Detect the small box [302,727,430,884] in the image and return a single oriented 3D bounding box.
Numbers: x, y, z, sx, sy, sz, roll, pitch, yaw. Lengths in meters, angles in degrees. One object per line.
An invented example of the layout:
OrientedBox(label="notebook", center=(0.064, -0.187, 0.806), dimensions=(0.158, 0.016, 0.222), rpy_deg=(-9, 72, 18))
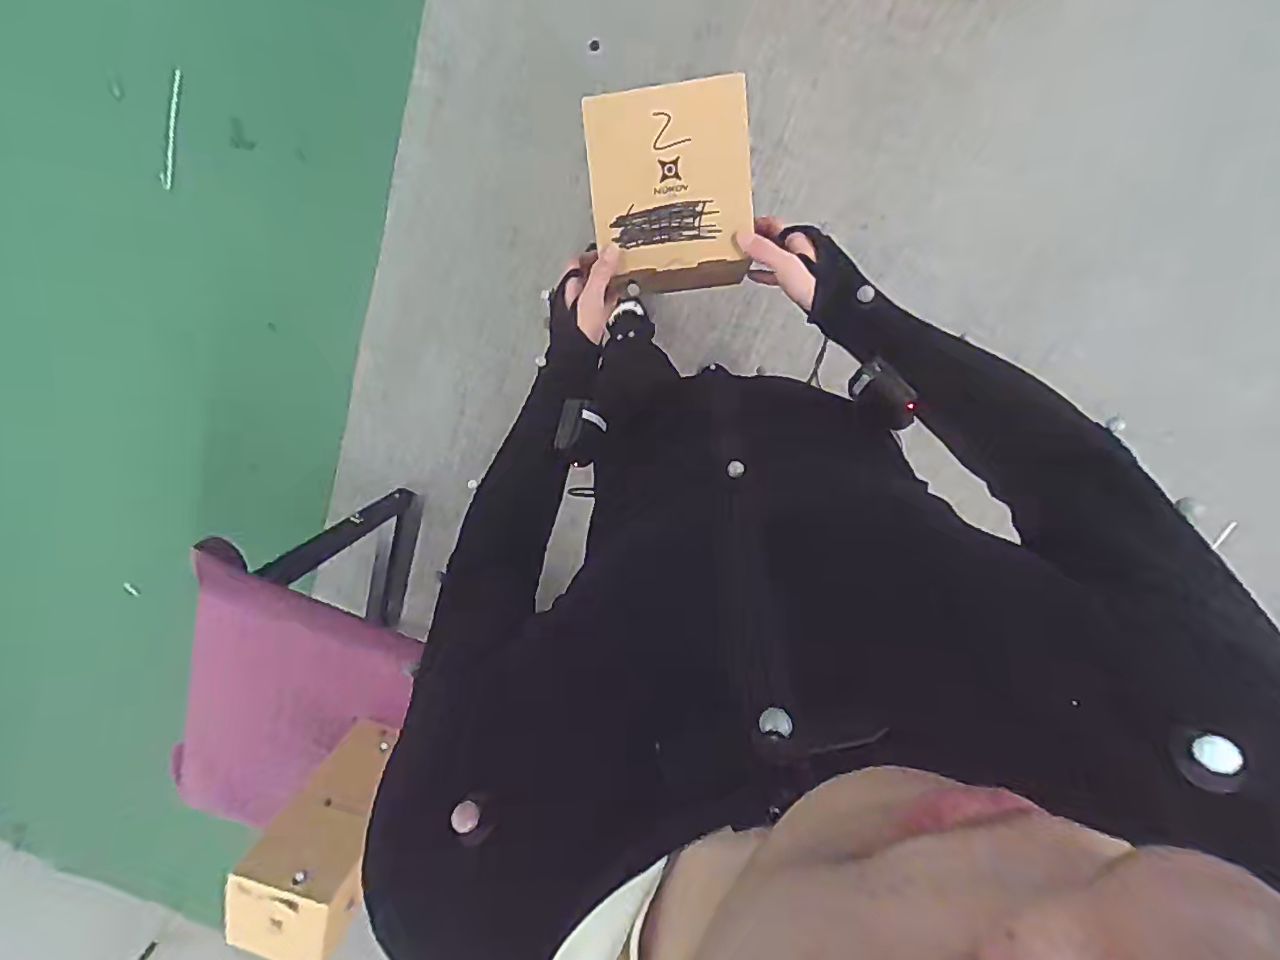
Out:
OrientedBox(label="small box", center=(-0.532, 0.626, 1.054), dimensions=(0.168, 0.176, 0.179), rpy_deg=(18, 108, 1))

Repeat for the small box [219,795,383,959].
OrientedBox(label="small box", center=(-0.552, 0.674, 0.898), dimensions=(0.168, 0.176, 0.179), rpy_deg=(16, 109, 1))
